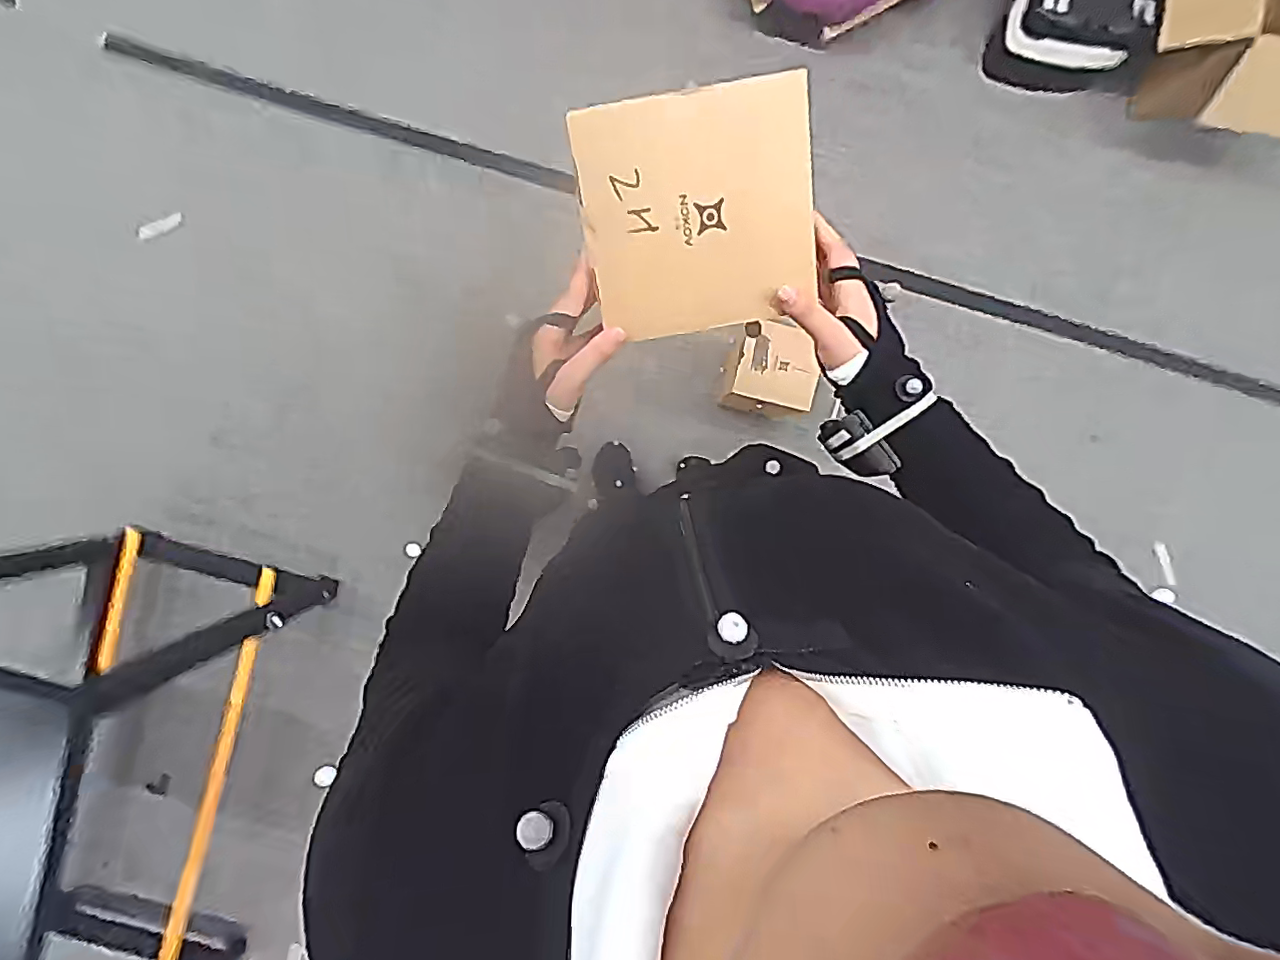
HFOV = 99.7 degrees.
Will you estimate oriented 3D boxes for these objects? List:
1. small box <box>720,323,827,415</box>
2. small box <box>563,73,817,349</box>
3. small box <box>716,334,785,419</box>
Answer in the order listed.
[{"bbox_3d":[0.290,-0.245,1.220,0.179,0.176,0.168,15,94,-2],"label":"small box"},{"bbox_3d":[0.039,-0.221,0.475,0.179,0.176,0.168,-10,110,1],"label":"small box"},{"bbox_3d":[0.298,-0.259,1.385,0.168,0.176,0.179,15,95,-1],"label":"small box"}]
